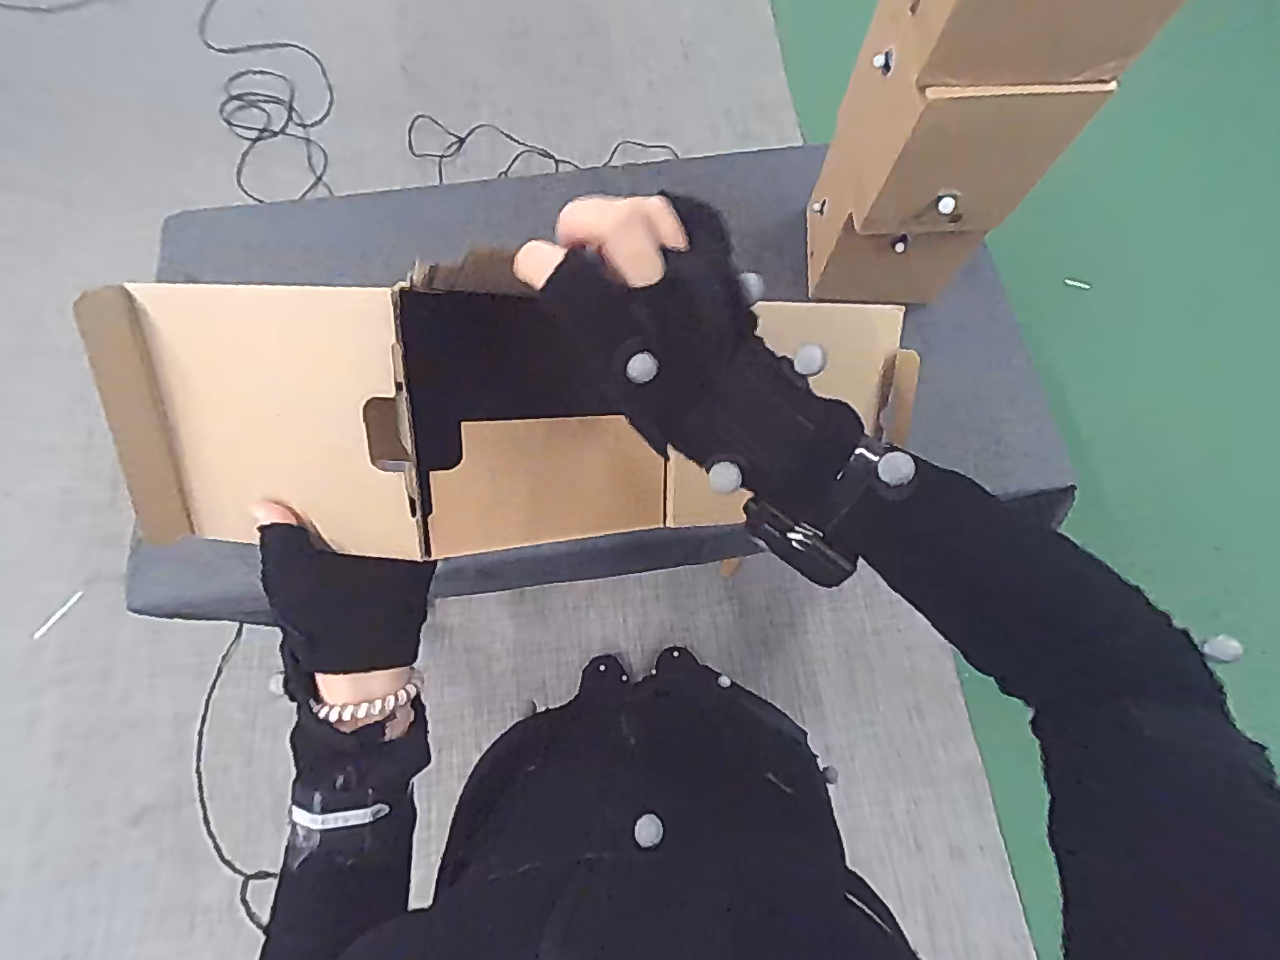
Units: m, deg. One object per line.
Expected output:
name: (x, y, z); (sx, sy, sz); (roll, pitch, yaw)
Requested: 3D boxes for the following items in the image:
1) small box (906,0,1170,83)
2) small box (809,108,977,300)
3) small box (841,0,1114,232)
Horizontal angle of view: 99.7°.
small box: (0.317, -0.438, 0.407); (0.179, 0.176, 0.168); (0, 74, 1)
small box: (0.333, -0.361, 0.725); (0.179, 0.176, 0.168); (4, 74, 2)
small box: (0.324, -0.390, 0.563); (0.168, 0.176, 0.179); (-2, 74, 1)
